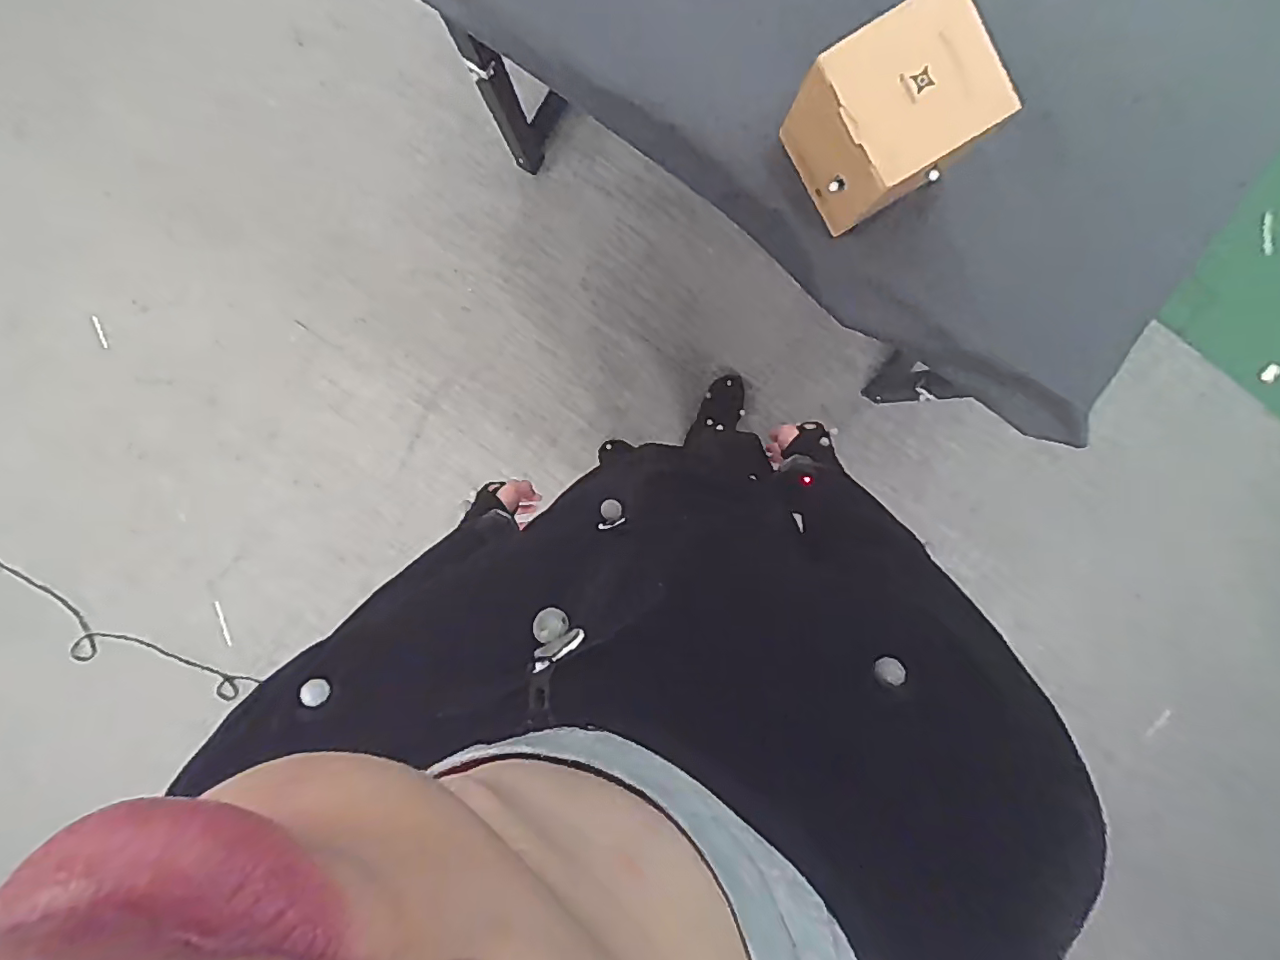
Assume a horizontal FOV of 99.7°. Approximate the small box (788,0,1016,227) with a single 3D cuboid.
[{"bbox_3d":[0.306,-0.453,0.678,0.179,0.176,0.168,-31,97,3],"label":"small box"}]
